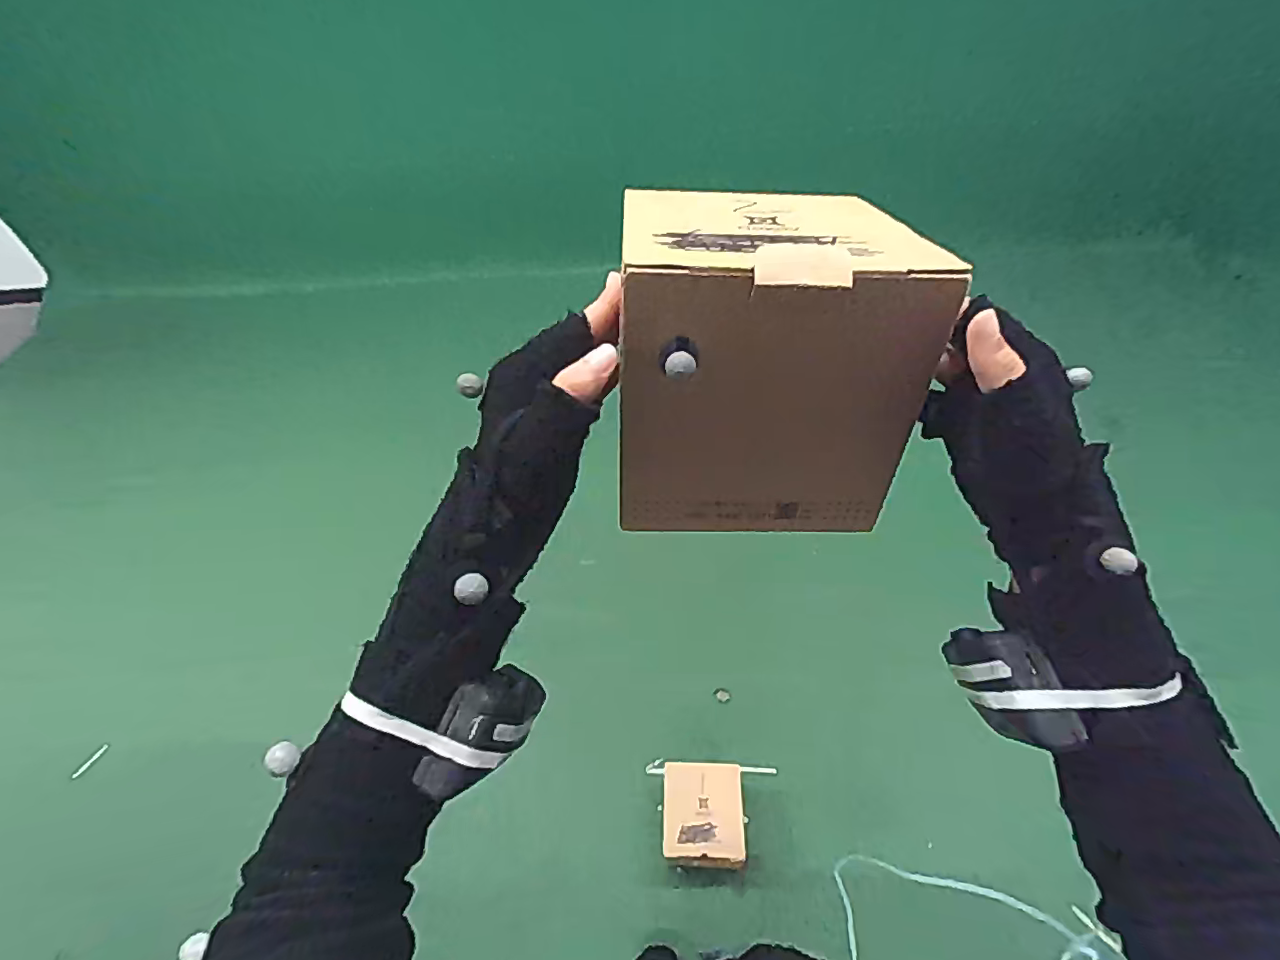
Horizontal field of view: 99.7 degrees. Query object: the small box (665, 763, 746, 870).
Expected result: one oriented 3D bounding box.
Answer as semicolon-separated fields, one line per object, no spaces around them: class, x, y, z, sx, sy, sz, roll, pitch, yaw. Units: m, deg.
small box;0.141;0.742;1.189;0.168;0.176;0.179;0;49;4
